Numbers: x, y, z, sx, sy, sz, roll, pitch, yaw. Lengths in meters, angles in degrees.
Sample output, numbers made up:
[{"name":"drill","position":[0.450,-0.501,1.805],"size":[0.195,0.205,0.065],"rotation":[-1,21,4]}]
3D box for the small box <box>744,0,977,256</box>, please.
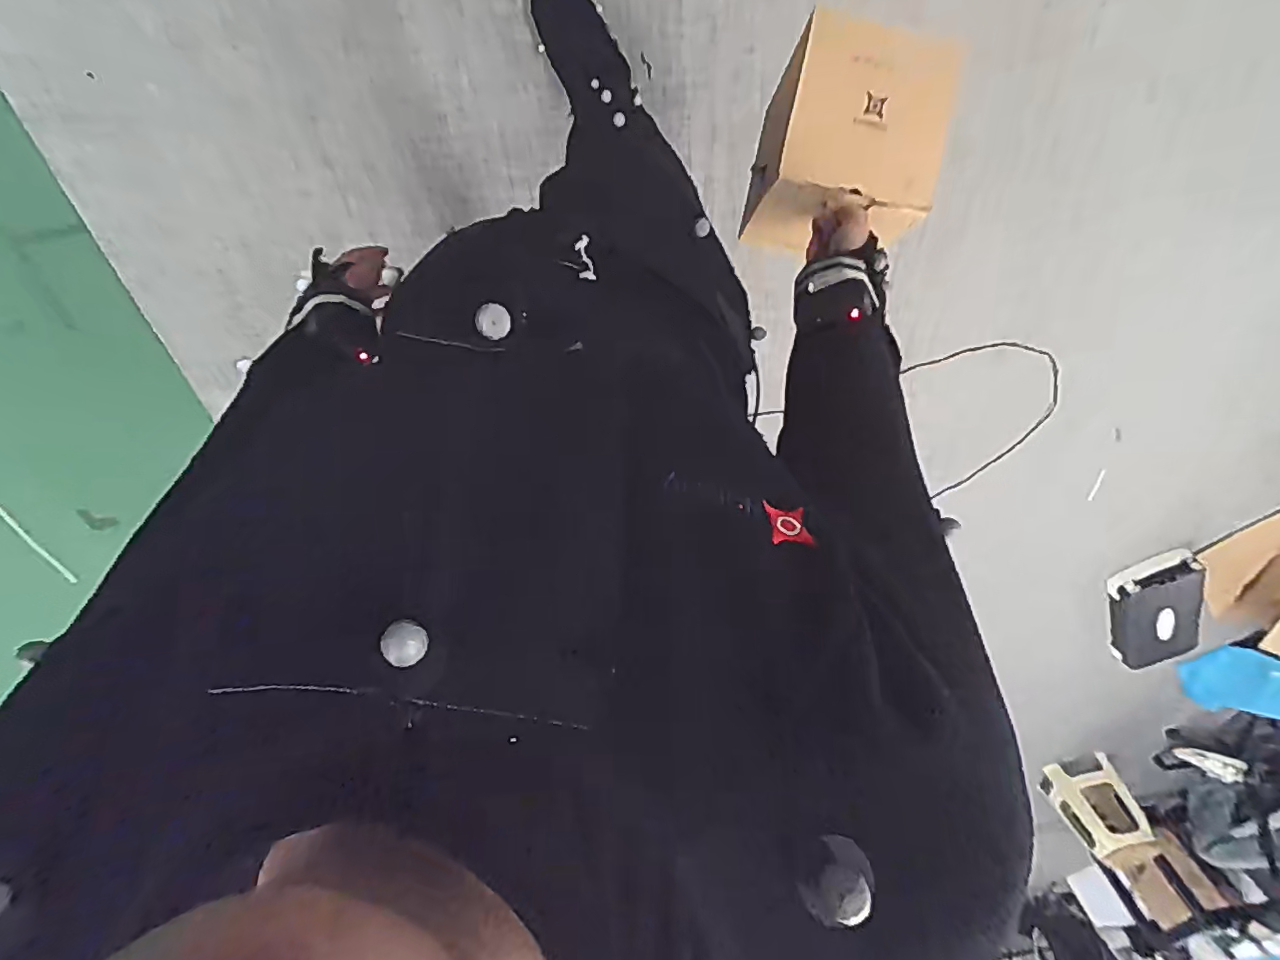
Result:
[{"name":"small box","position":[0.225,-0.375,0.601],"size":[0.168,0.176,0.179],"rotation":[12,91,-5]}]
